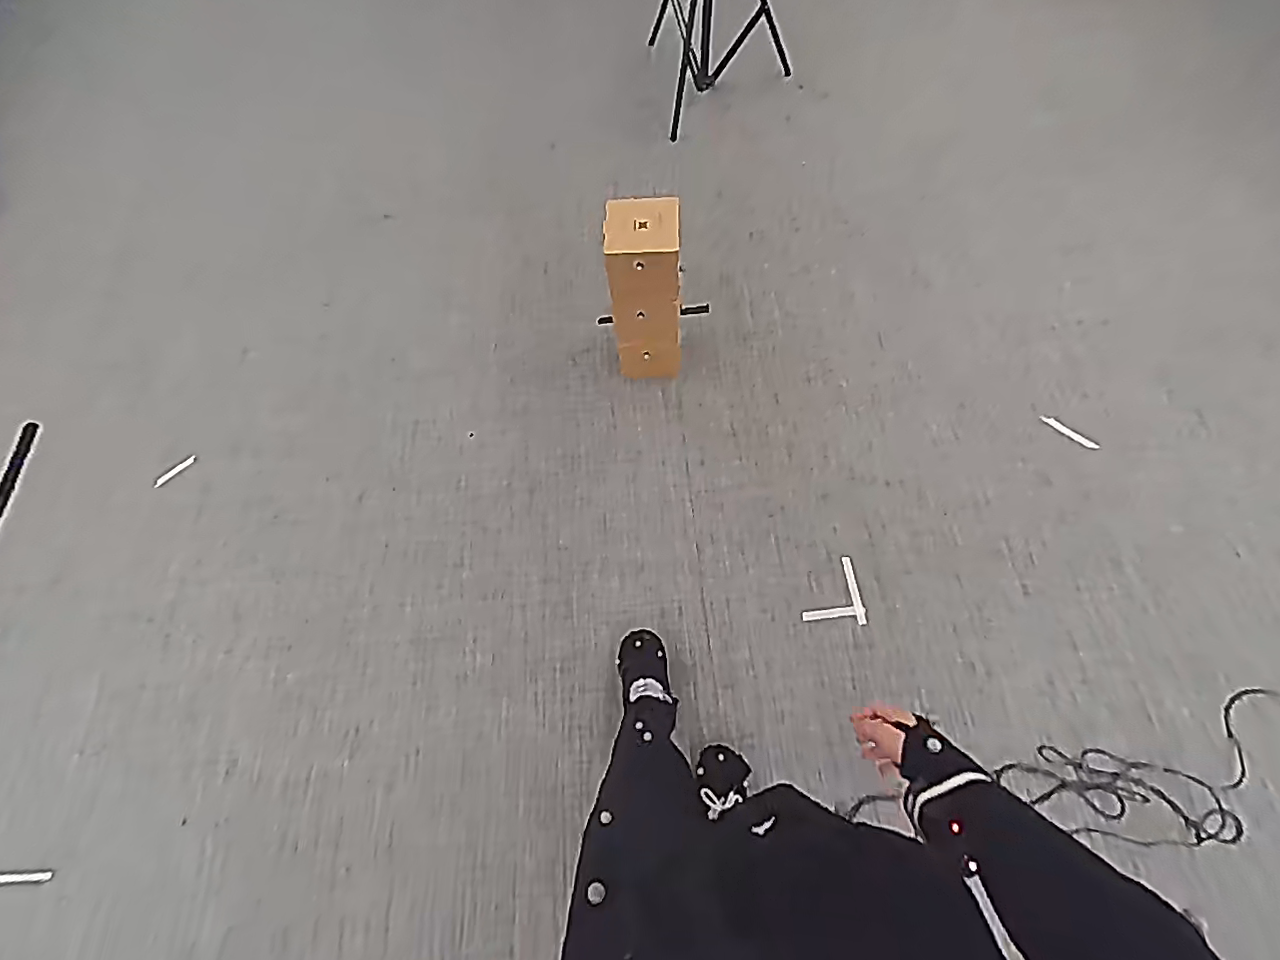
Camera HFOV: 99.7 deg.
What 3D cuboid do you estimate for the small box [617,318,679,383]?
[{"bbox_3d":[0.027,-0.404,1.627,0.179,0.176,0.168,0,68,4],"label":"small box"}]

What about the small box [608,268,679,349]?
[{"bbox_3d":[0.016,-0.474,1.479,0.179,0.176,0.168,2,68,5],"label":"small box"}]

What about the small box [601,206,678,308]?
[{"bbox_3d":[0.005,-0.543,1.332,0.179,0.176,0.168,0,69,4],"label":"small box"}]
